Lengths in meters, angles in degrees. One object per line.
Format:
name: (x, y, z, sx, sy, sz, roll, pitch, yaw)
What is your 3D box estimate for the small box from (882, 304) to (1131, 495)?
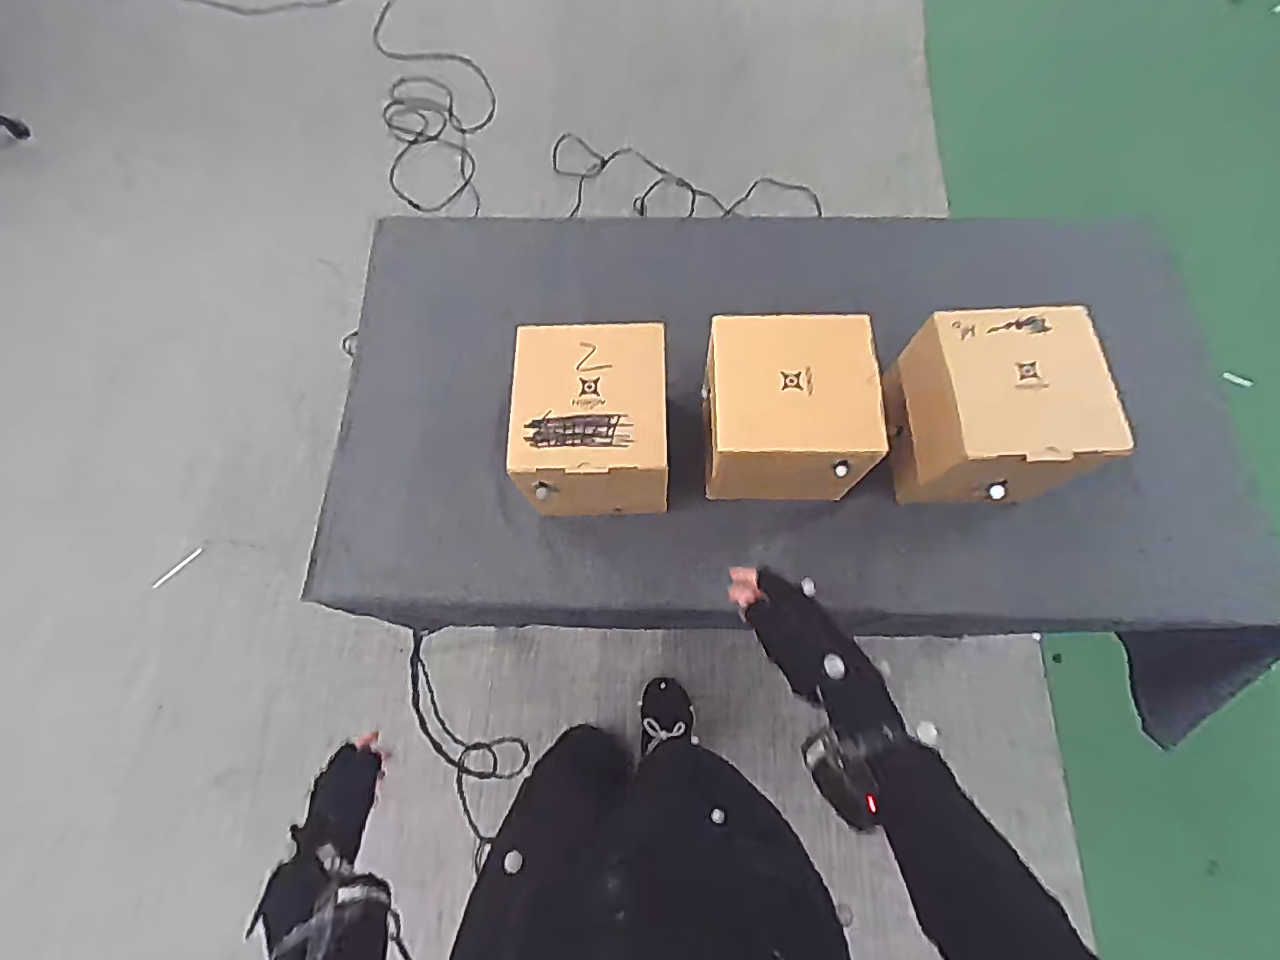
small box: (0.409, -0.084, 0.639, 0.168, 0.176, 0.179, 0, 72, 0)
